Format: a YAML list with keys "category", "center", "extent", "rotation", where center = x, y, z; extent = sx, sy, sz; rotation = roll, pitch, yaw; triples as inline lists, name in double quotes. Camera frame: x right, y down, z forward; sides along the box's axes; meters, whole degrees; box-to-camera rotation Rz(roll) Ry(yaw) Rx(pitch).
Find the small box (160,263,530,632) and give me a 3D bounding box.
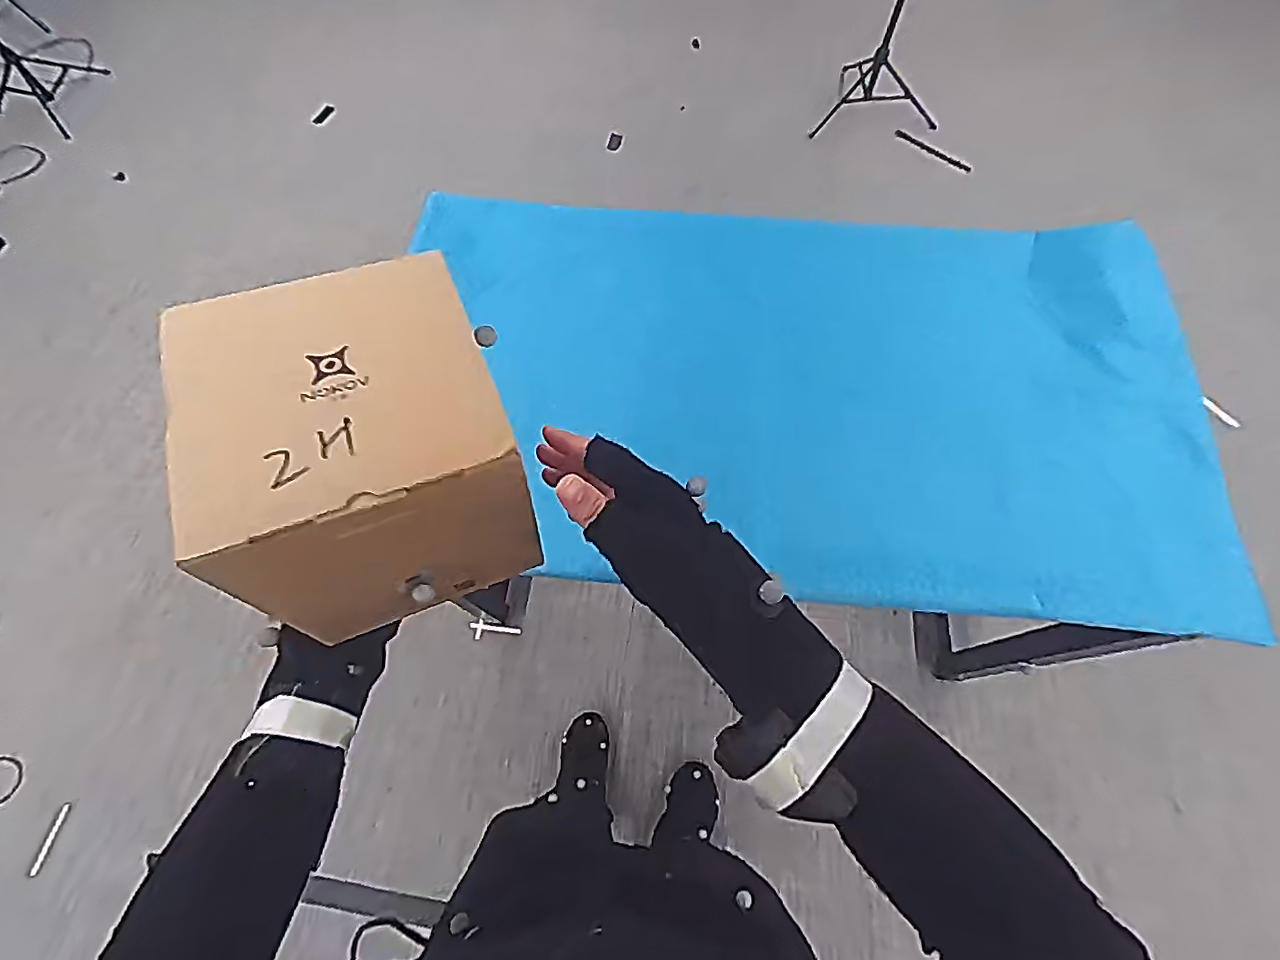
- category: "small box"
  center: [-0.181, -0.014, 0.377]
  extent: [0.168, 0.176, 0.179]
  rotation: [-16, 66, -12]
